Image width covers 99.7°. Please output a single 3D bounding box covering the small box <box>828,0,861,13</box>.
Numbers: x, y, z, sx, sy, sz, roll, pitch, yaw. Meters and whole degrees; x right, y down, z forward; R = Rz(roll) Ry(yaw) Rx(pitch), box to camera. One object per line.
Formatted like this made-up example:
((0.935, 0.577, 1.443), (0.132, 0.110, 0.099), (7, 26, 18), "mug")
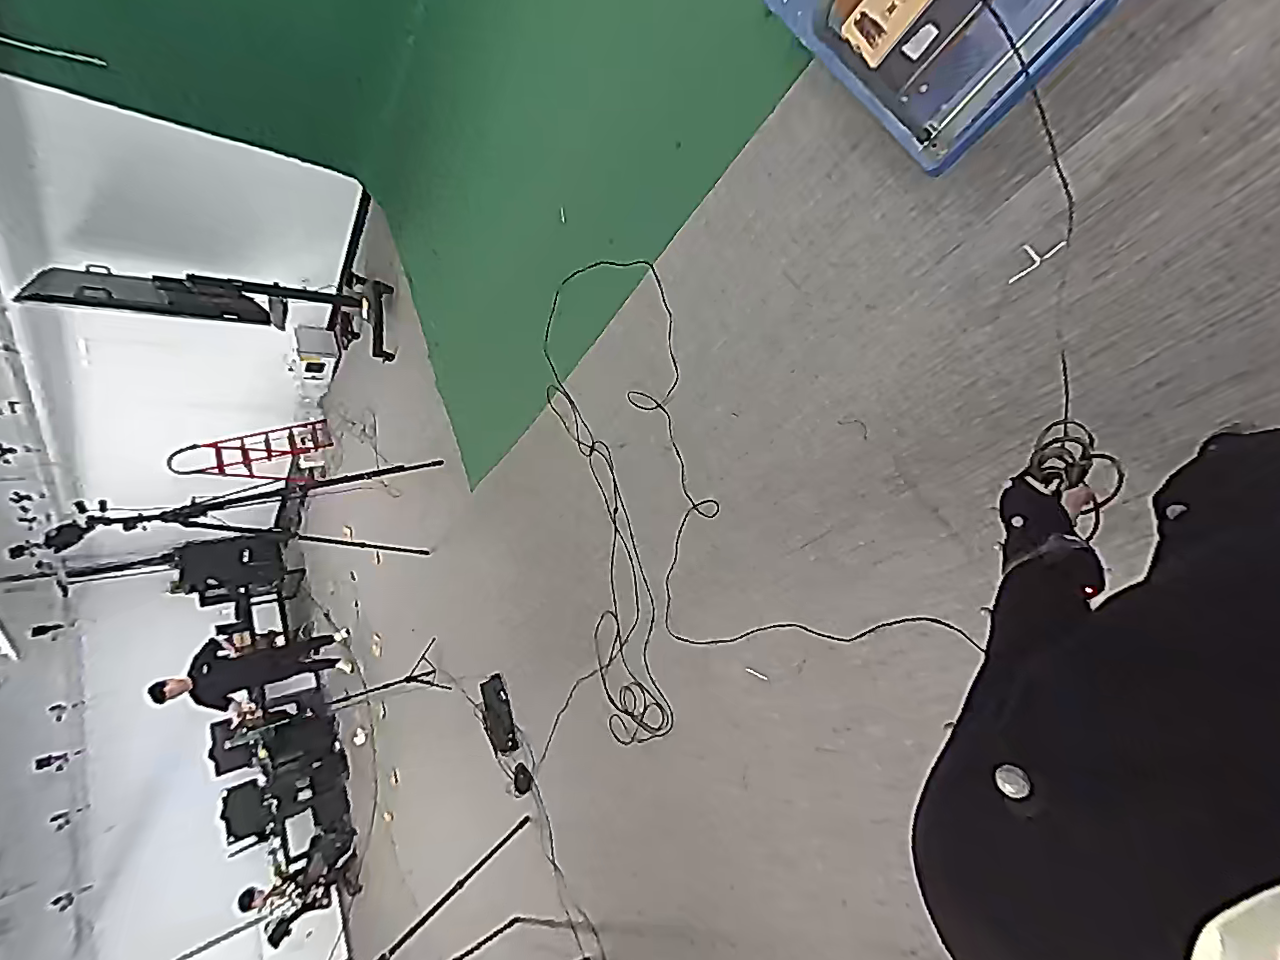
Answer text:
((0.512, -1.340, 1.369), (0.168, 0.176, 0.179), (-48, 61, 38), "small box")
